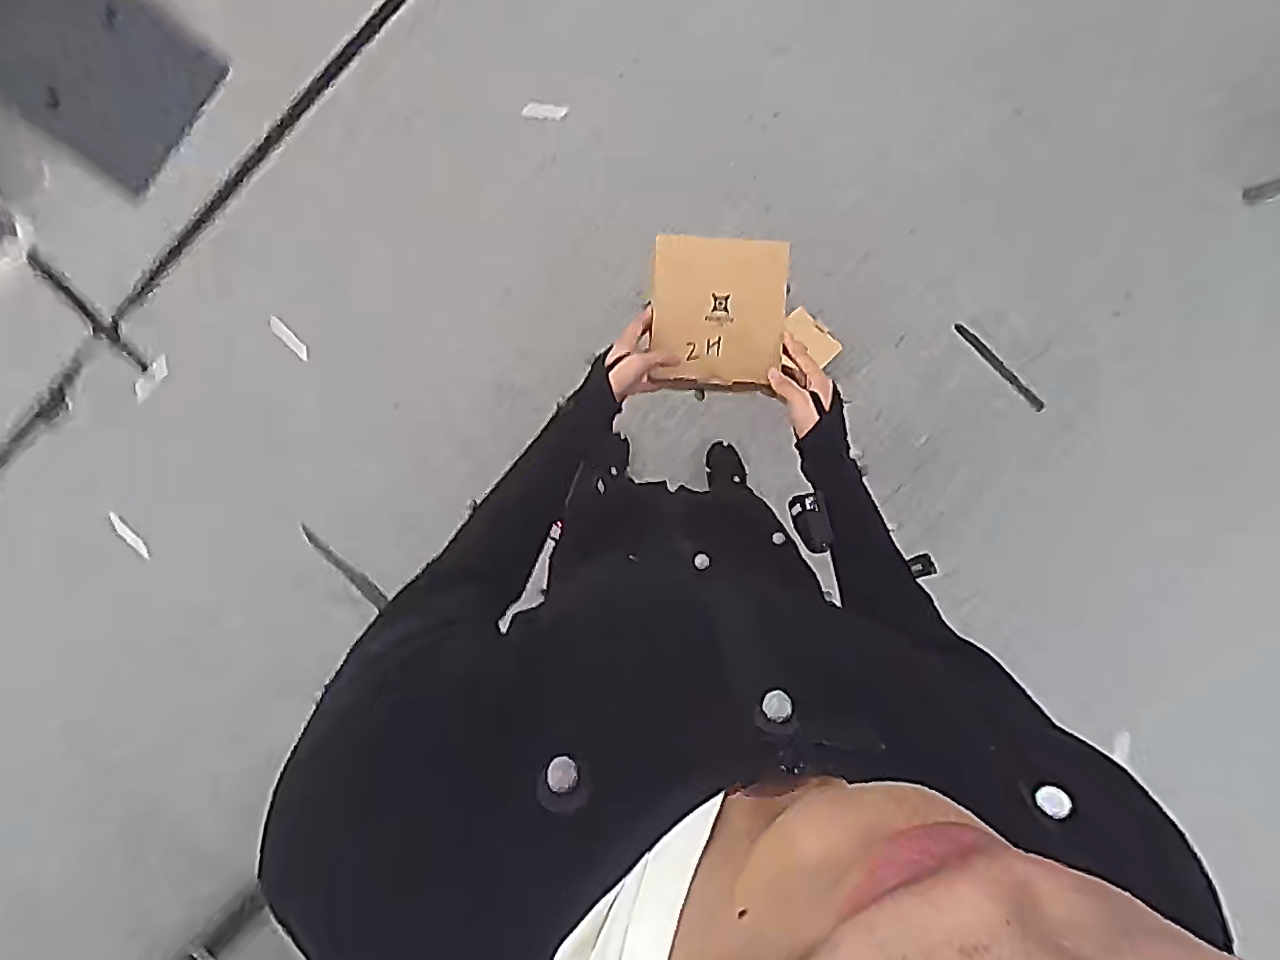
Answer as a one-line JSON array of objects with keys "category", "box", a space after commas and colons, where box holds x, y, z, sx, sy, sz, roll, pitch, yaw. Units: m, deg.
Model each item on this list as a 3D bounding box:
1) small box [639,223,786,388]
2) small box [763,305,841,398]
[{"category": "small box", "box": [0.087, -0.222, 0.729, 0.168, 0.176, 0.179, 2, 96, -3]}, {"category": "small box", "box": [0.421, -0.353, 1.518, 0.179, 0.176, 0.168, -45, 90, 3]}]
